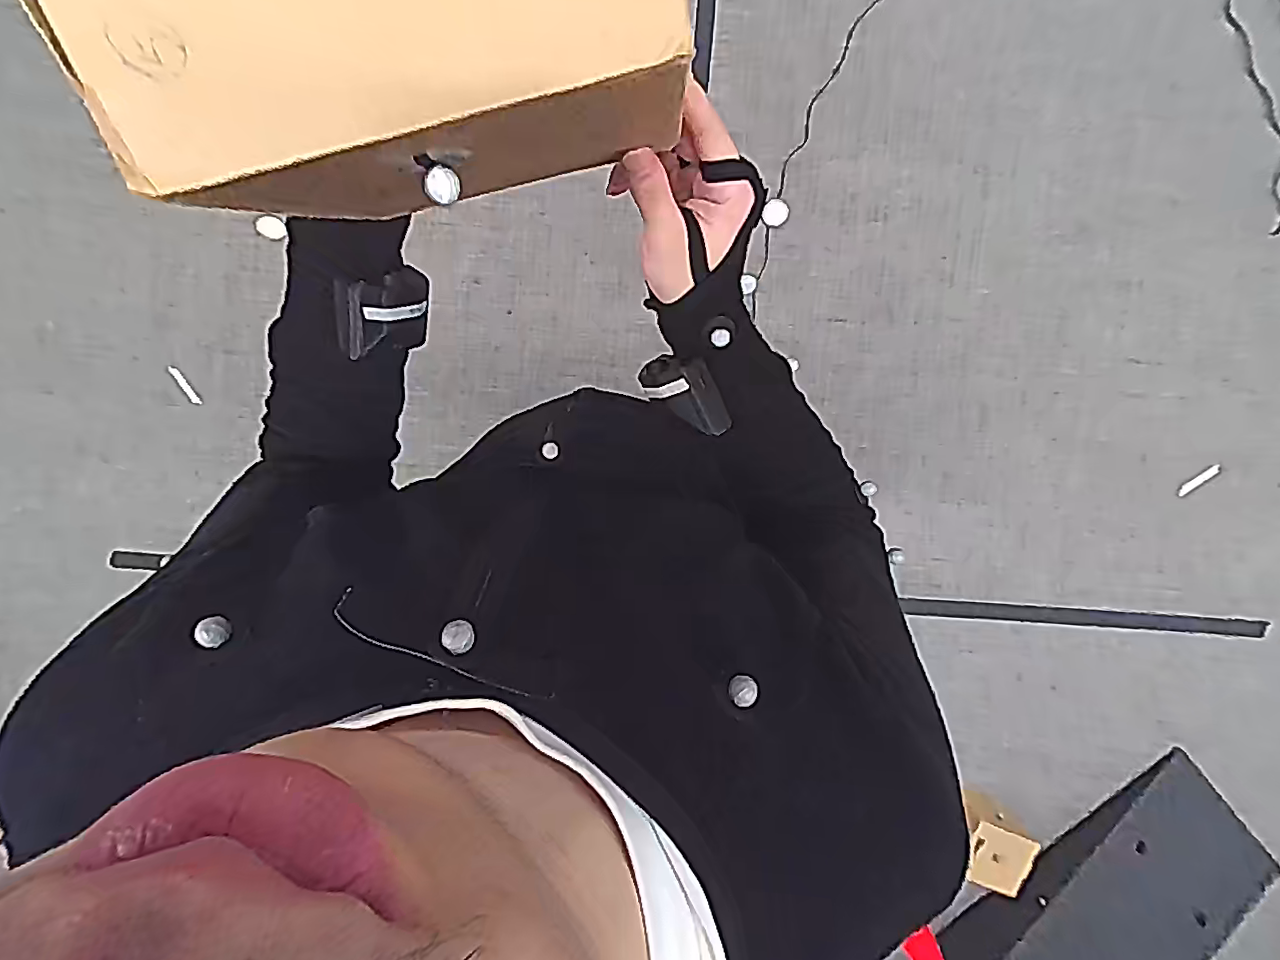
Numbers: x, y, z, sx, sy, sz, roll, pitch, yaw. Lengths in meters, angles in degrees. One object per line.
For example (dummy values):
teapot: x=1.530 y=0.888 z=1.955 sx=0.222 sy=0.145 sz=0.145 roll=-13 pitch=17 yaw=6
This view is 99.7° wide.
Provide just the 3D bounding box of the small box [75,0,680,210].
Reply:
small box: x=-0.083 y=-0.212 z=0.210 sx=0.179 sy=0.176 sz=0.168 roll=-10 pitch=114 yaw=7
